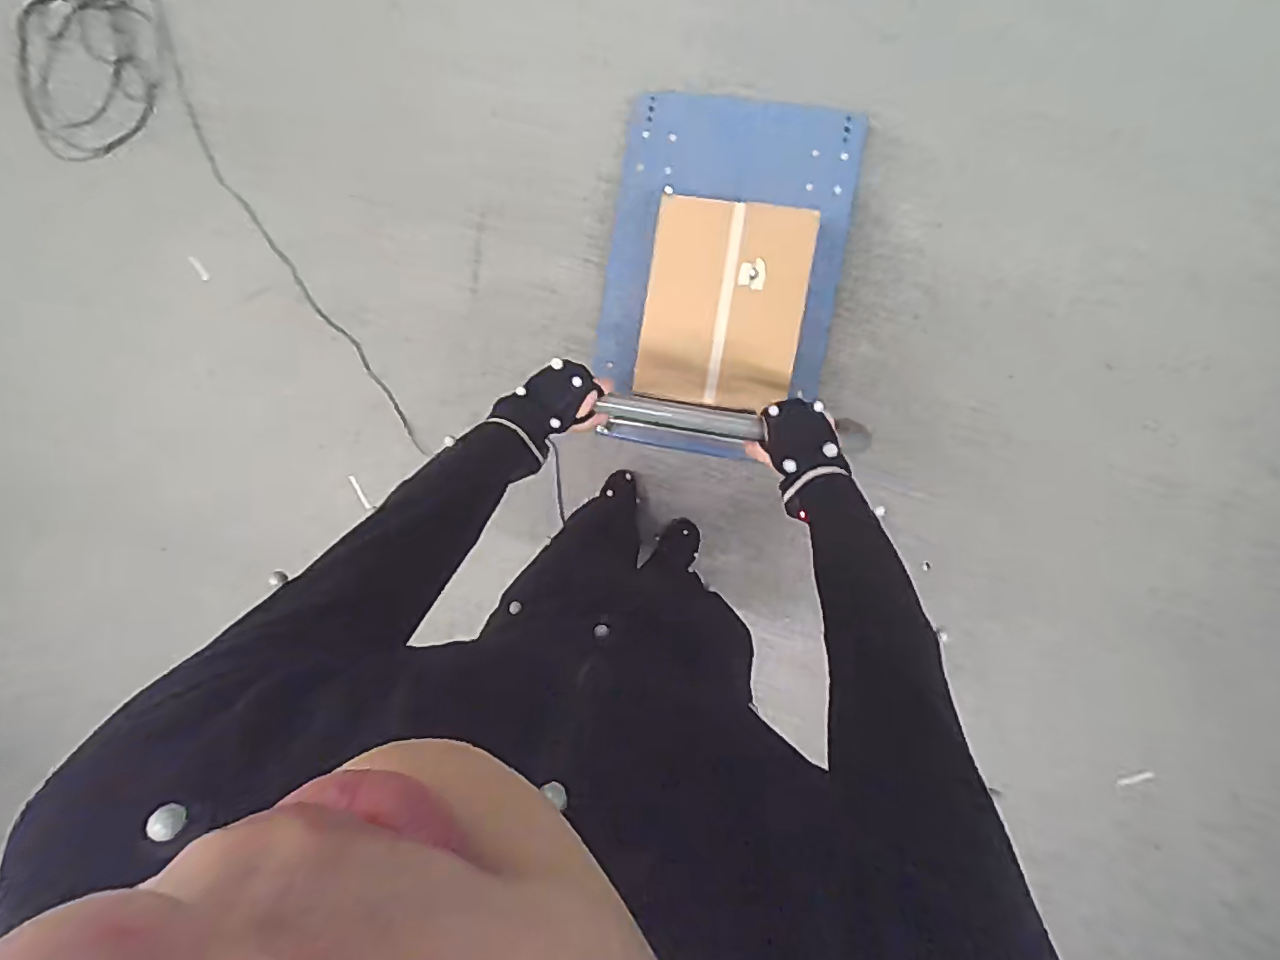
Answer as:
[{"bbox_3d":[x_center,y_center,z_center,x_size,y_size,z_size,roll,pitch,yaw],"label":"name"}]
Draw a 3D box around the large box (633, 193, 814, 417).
[{"bbox_3d":[0.178,-0.365,1.228,0.320,0.320,0.408,9,95,4],"label":"large box"}]
